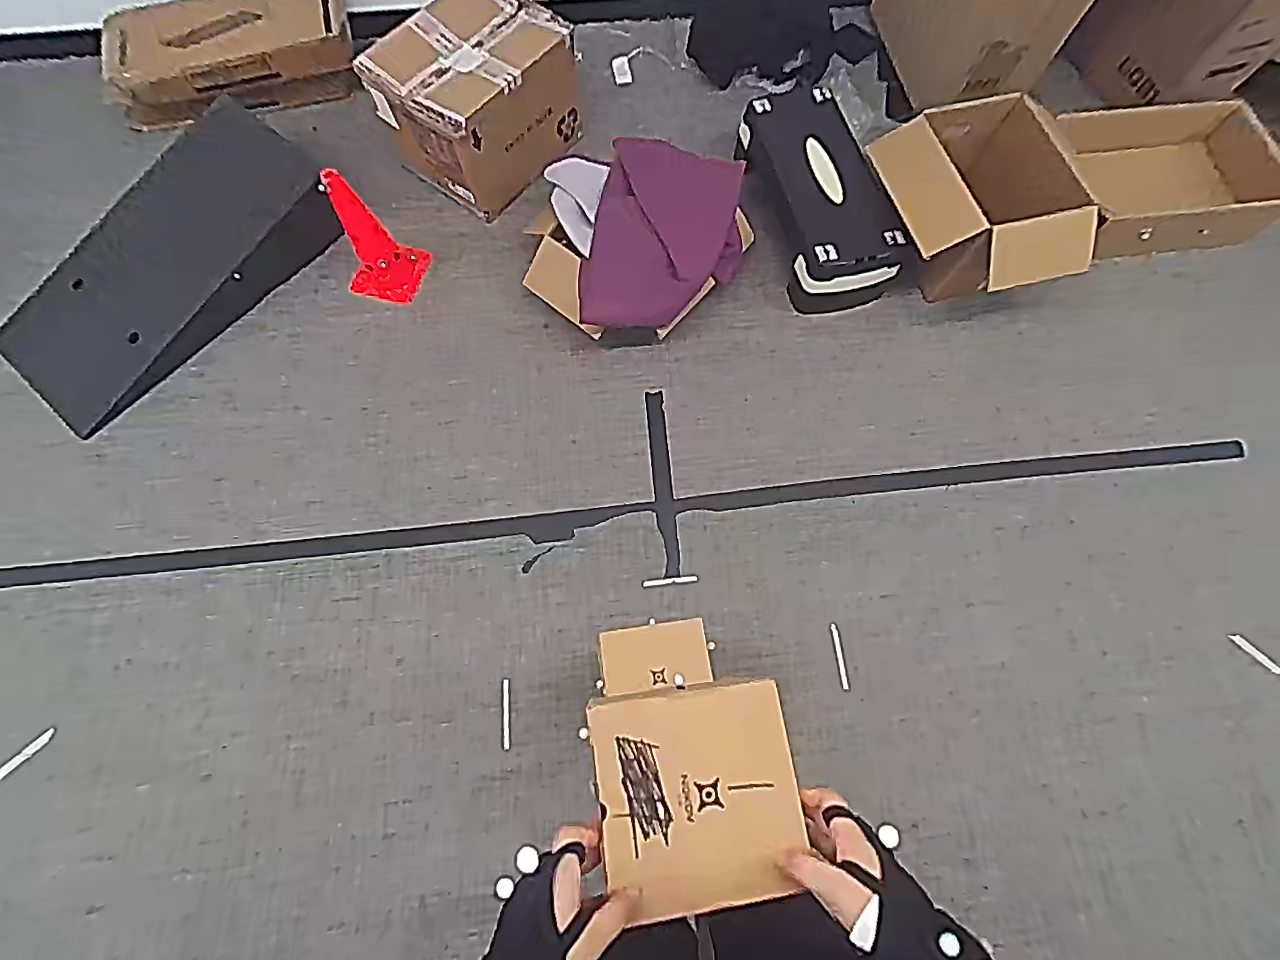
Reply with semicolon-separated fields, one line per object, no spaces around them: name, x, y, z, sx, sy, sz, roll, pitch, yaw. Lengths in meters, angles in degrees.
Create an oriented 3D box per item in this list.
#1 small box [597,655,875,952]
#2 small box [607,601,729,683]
small box;0.059;0.248;0.460;0.179;0.176;0.168;-7;72;-8
small box;0.042;0.289;0.817;0.168;0.176;0.179;-8;72;-2
